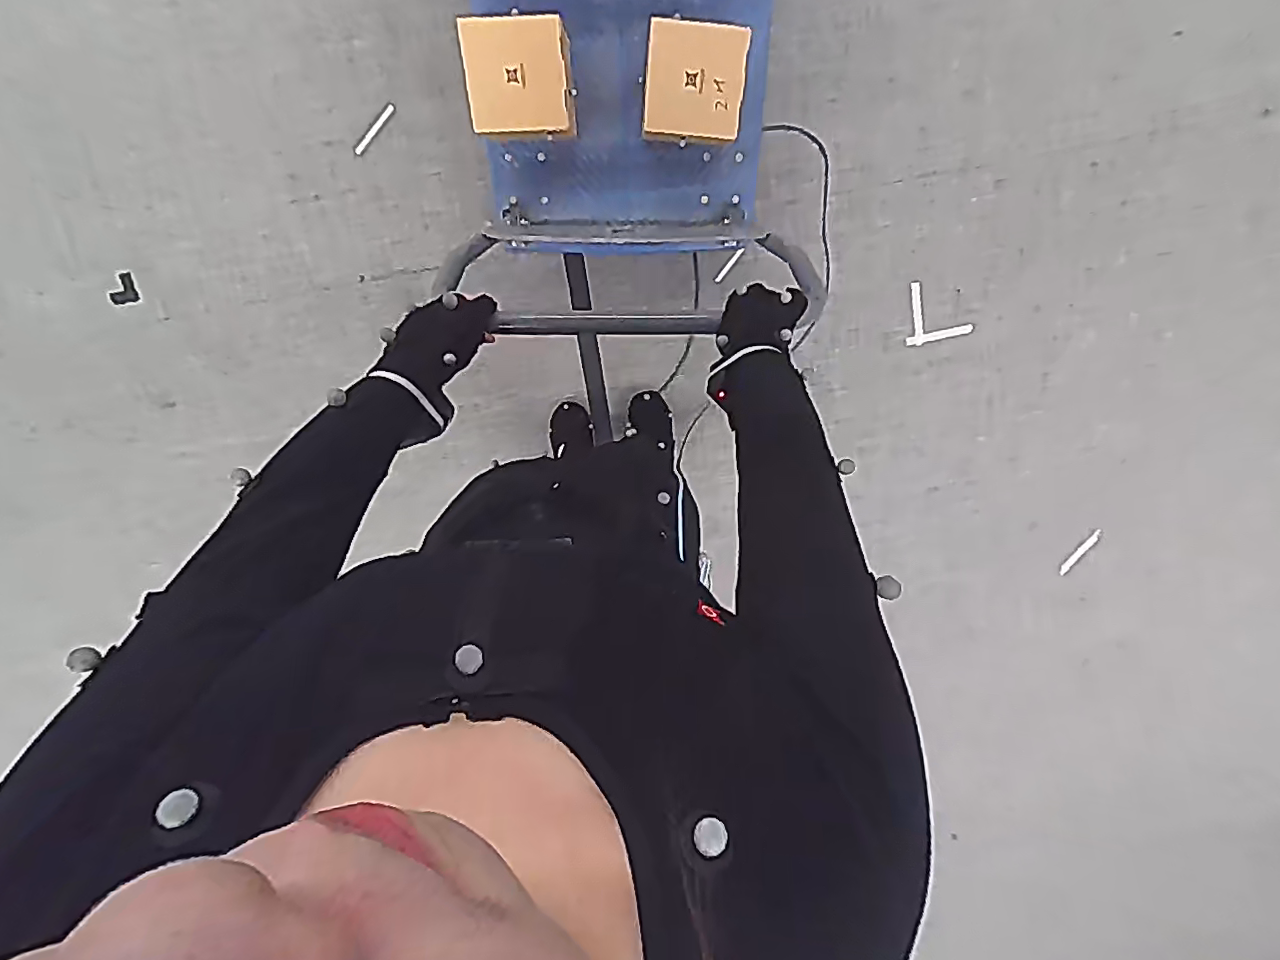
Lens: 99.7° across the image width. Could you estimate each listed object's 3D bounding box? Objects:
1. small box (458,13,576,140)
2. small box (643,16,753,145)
[{"bbox_3d":[-0.219,-0.743,1.011,0.179,0.176,0.168,-4,118,-1],"label":"small box"},{"bbox_3d":[0.098,-0.741,1.022,0.179,0.176,0.168,4,118,-3],"label":"small box"}]
